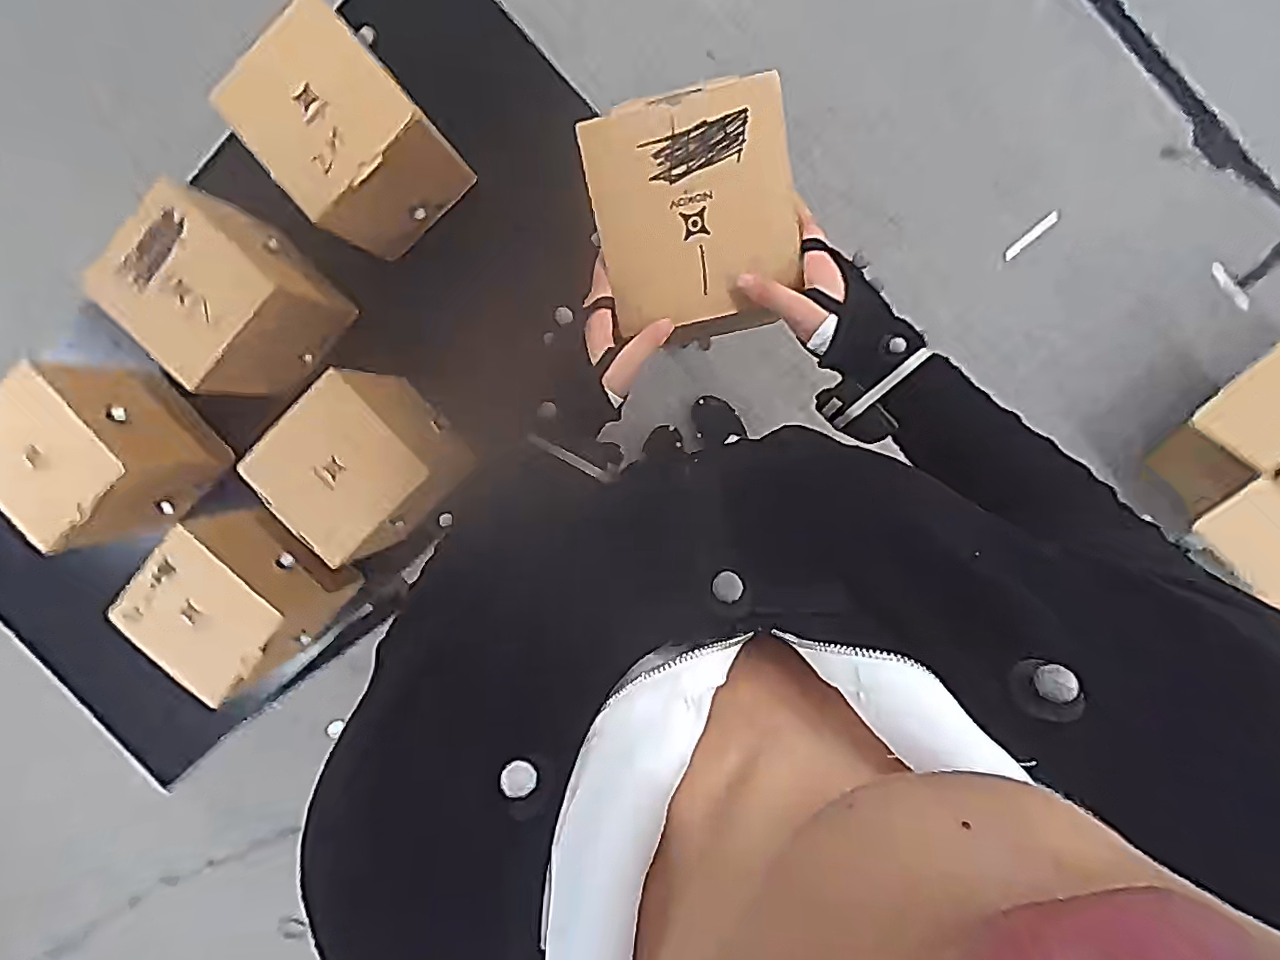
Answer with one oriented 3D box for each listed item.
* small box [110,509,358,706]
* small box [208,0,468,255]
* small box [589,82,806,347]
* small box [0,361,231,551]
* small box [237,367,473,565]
[{"bbox_3d":[-0.534,0.159,0.739,0.179,0.176,0.168,41,98,-1],"label":"small box"},{"bbox_3d":[-0.349,-0.410,0.658,0.168,0.176,0.179,-40,92,9],"label":"small box"},{"bbox_3d":[0.056,-0.239,0.536,0.168,0.176,0.179,-9,98,7],"label":"small box"},{"bbox_3d":[-0.725,-0.034,0.733,0.168,0.176,0.179,-41,92,8],"label":"small box"},{"bbox_3d":[-0.353,-0.021,0.706,0.179,0.176,0.168,-44,92,7],"label":"small box"}]
